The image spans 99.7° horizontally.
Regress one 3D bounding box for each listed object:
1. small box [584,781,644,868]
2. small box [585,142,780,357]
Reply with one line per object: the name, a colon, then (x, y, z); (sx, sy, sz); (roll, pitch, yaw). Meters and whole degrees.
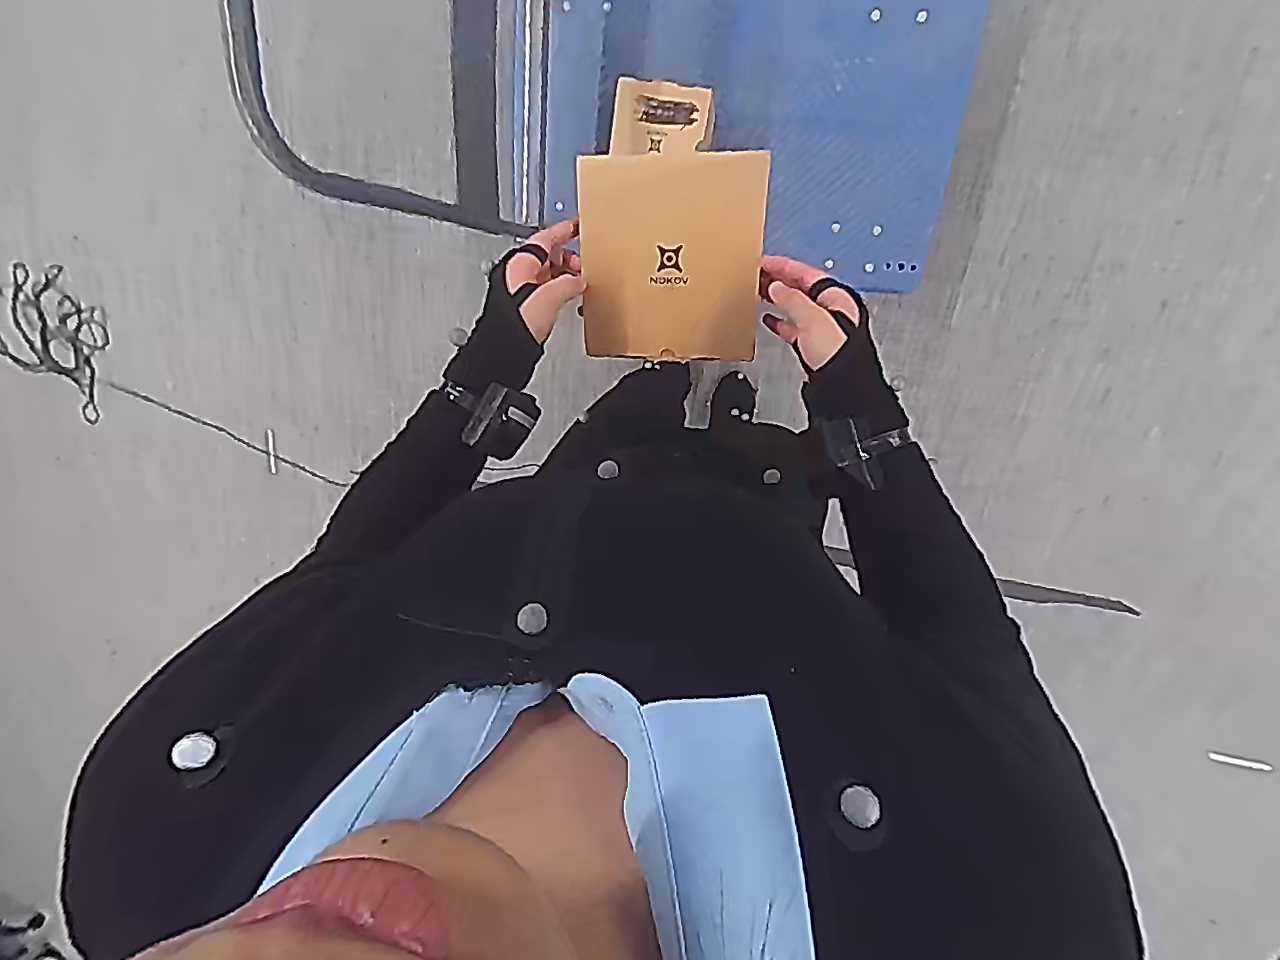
small box: (-0.080, 1.149, 1.808); (0.168, 0.176, 0.179); (-2, 107, 9)
small box: (0.043, -0.235, 0.555); (0.168, 0.176, 0.179); (4, 118, 8)
